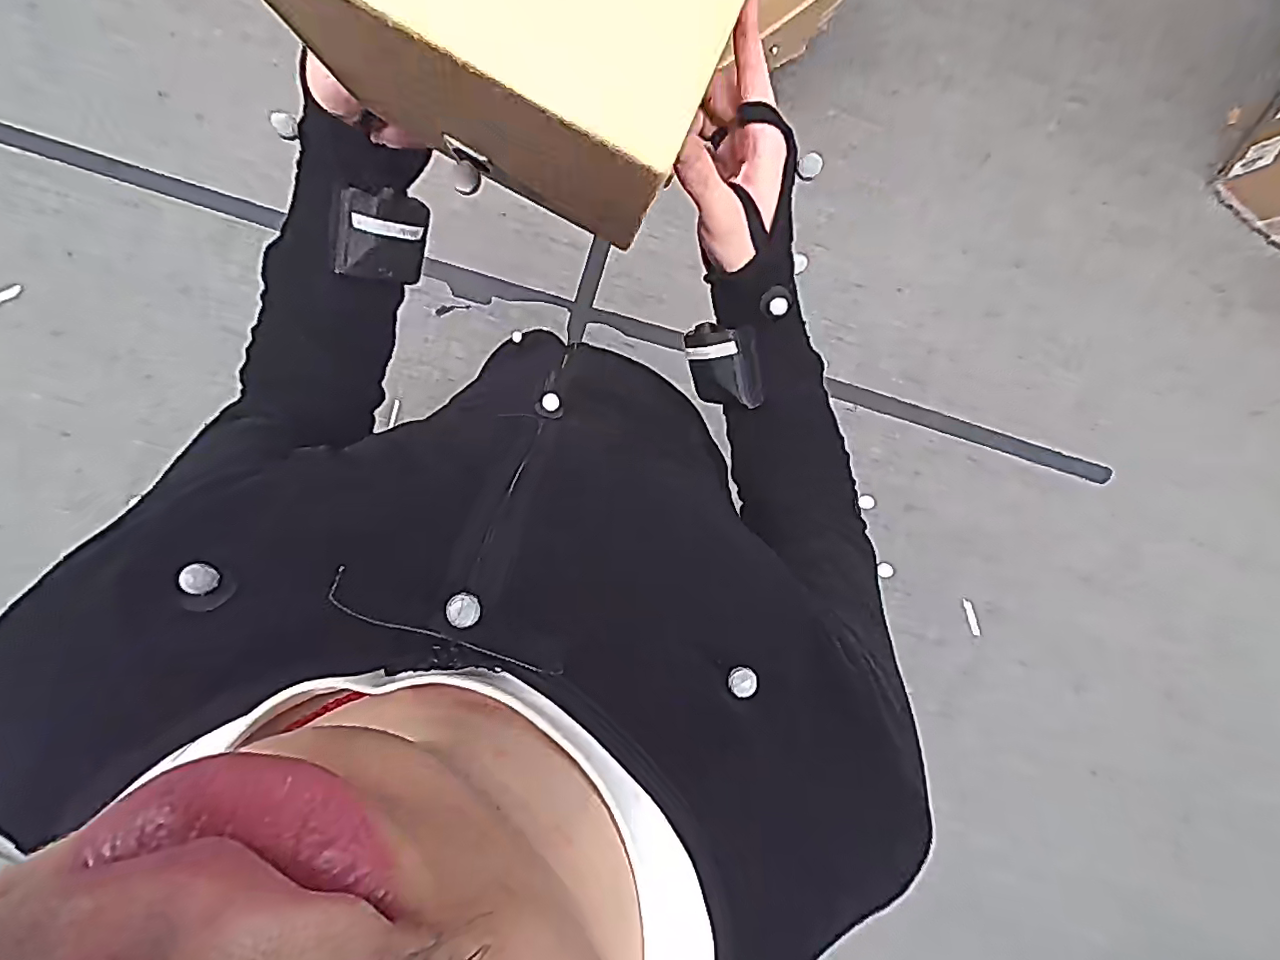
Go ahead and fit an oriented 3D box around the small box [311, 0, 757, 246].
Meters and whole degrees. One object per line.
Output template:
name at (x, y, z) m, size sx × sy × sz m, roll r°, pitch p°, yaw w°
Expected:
small box at (-0.033, -0.236, 0.243) m, size 0.168 × 0.176 × 0.179 m, roll 23°, pitch 100°, yaw -12°
